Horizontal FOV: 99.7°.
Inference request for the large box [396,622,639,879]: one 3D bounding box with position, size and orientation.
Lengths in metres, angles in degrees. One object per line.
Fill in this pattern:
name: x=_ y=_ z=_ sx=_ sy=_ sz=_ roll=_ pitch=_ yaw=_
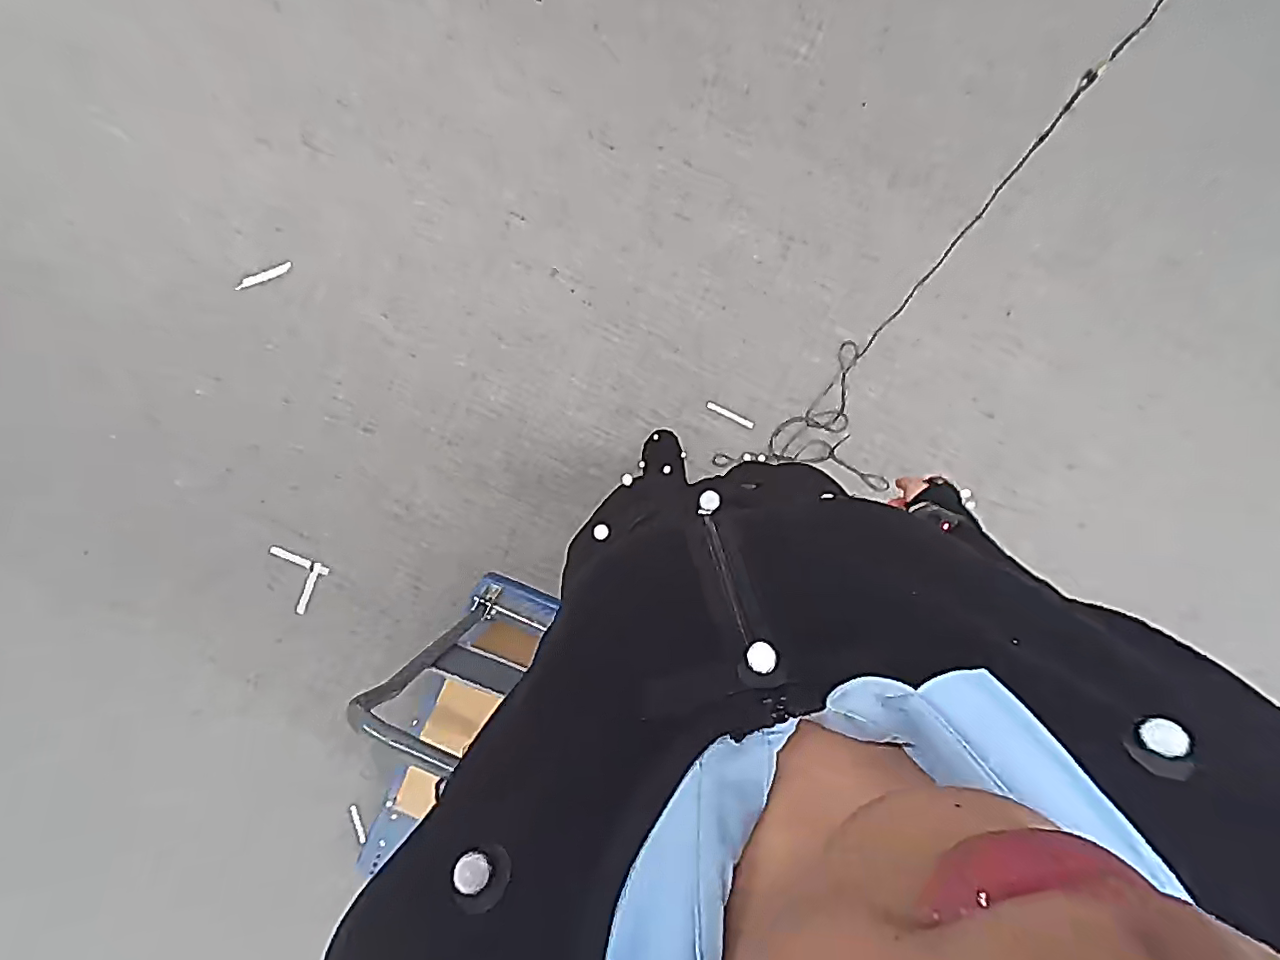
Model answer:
large box: x=-0.246 y=0.579 z=1.223 sx=0.408 sy=0.320 sz=0.320 roll=24 pitch=94 yaw=1
